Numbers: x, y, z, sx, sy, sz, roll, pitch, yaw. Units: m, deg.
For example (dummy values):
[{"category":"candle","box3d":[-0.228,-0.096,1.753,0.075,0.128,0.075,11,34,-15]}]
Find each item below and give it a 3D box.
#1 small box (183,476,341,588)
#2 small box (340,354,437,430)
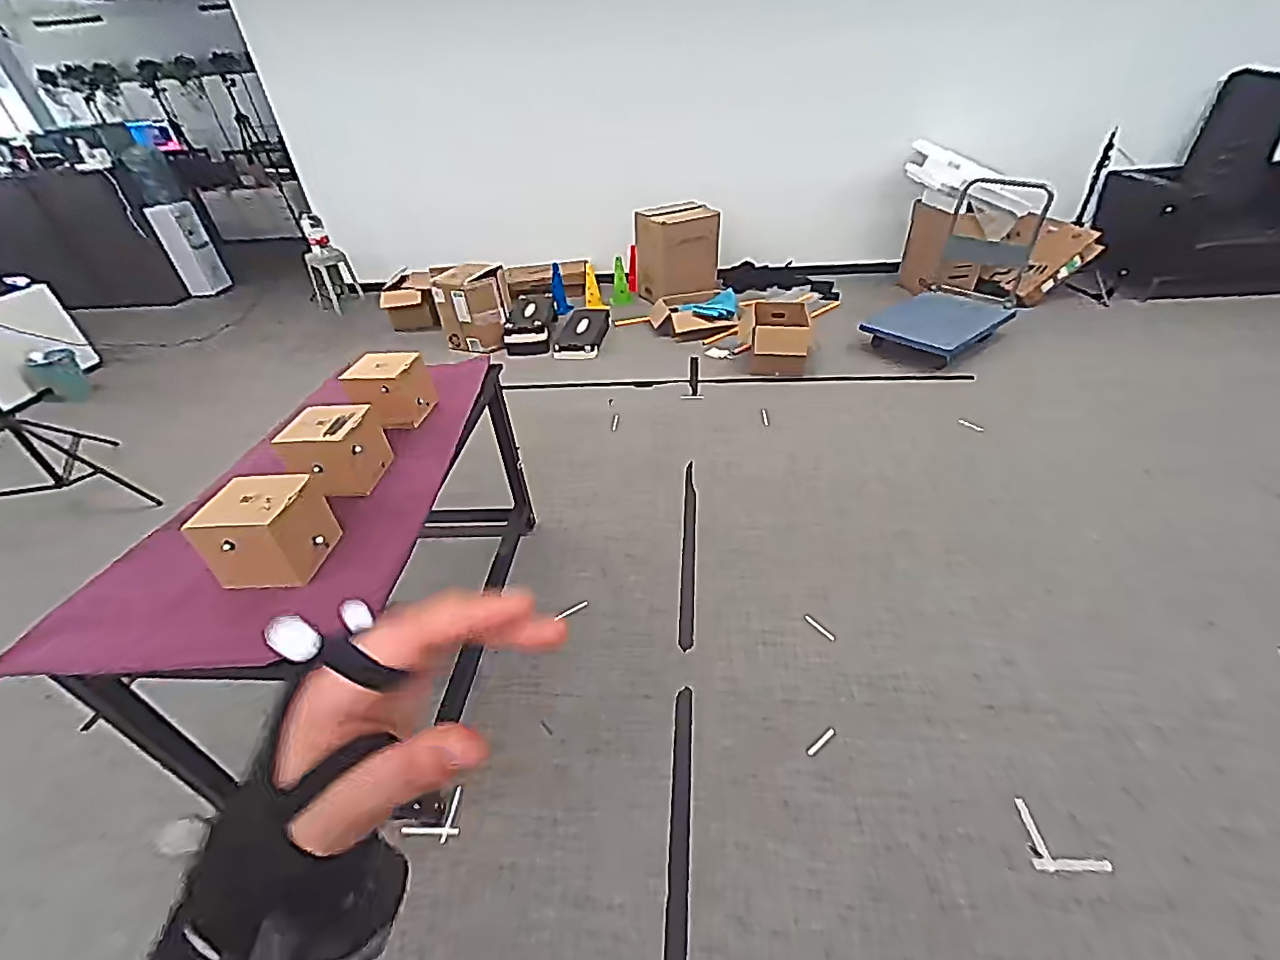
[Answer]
[{"category":"small box","box3d":[-0.762,0.108,1.114,0.179,0.176,0.168,-2,36,3]},{"category":"small box","box3d":[-0.733,-0.257,1.593,0.179,0.176,0.168,0,38,8]}]
